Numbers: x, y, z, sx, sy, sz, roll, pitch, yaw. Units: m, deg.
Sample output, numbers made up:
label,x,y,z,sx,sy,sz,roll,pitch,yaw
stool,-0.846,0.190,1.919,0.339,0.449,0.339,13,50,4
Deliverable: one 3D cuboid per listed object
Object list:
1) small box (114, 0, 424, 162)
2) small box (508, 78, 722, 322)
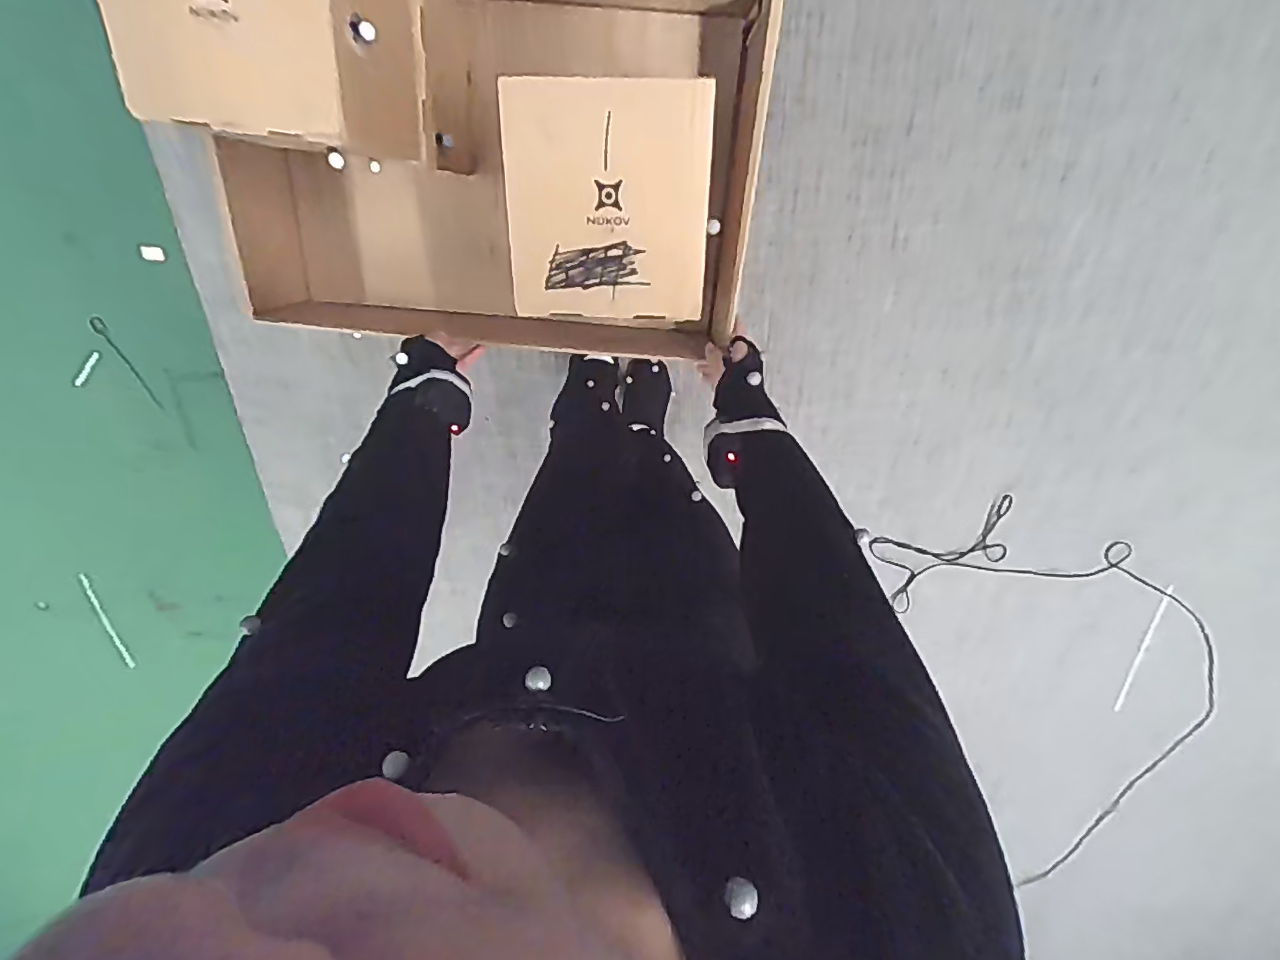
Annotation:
label,x,y,z,sx,sy,sz,roll,pitch,yaw
small box,-0.297,-0.385,0.462,0.168,0.176,0.179,6,116,-3
small box,-0.018,-0.256,0.513,0.168,0.176,0.179,2,115,1
